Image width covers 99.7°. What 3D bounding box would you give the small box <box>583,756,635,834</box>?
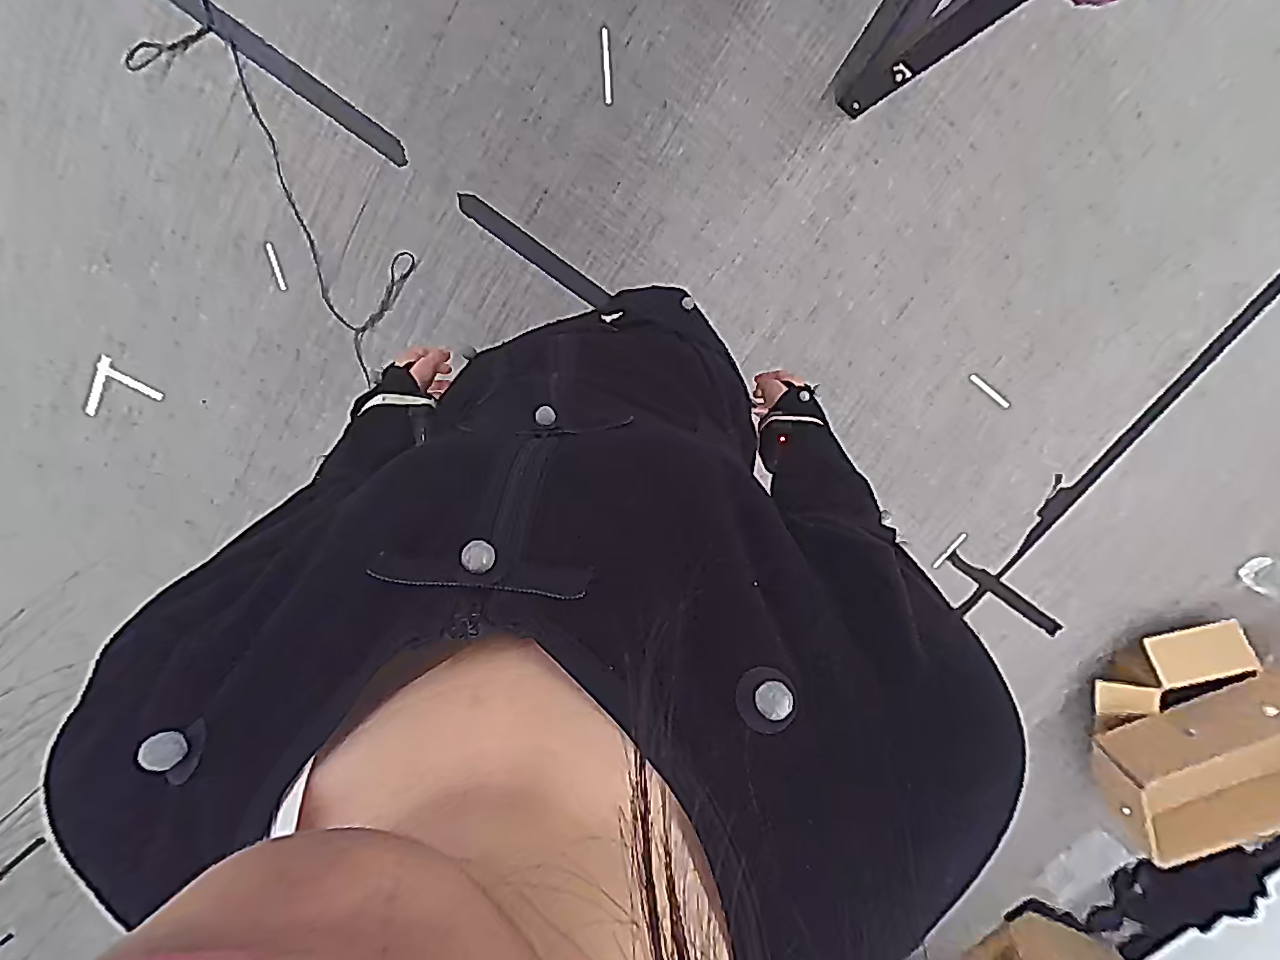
[{"bbox_3d":[-0.106,1.070,1.852,0.168,0.176,0.179,-3,112,0],"label":"small box"}]
